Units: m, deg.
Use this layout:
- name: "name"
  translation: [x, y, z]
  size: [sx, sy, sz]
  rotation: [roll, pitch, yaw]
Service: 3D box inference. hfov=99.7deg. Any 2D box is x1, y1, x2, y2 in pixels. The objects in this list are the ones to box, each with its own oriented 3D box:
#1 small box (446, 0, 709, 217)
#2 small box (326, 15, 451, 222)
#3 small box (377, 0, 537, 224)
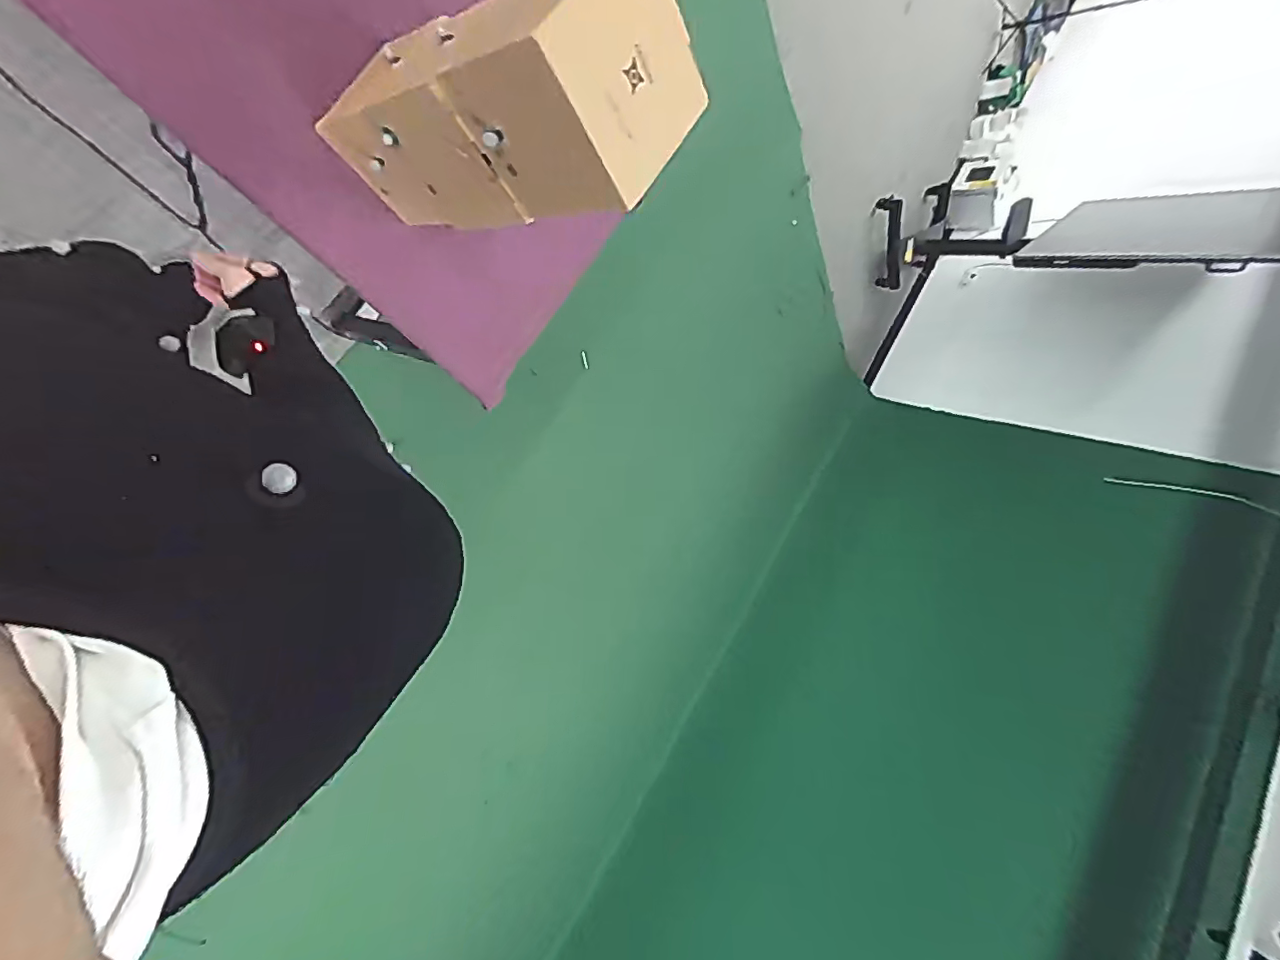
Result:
- name: "small box"
  translation: [-0.061, -0.398, 0.556]
  size: [0.179, 0.176, 0.168]
  rotation: [-58, 140, -15]
- name: "small box"
  translation: [-0.304, -0.486, 0.758]
  size: [0.179, 0.176, 0.168]
  rotation: [-61, 141, -13]
- name: "small box"
  translation: [-0.185, -0.435, 0.656]
  size: [0.179, 0.176, 0.168]
  rotation: [-60, 141, -15]
